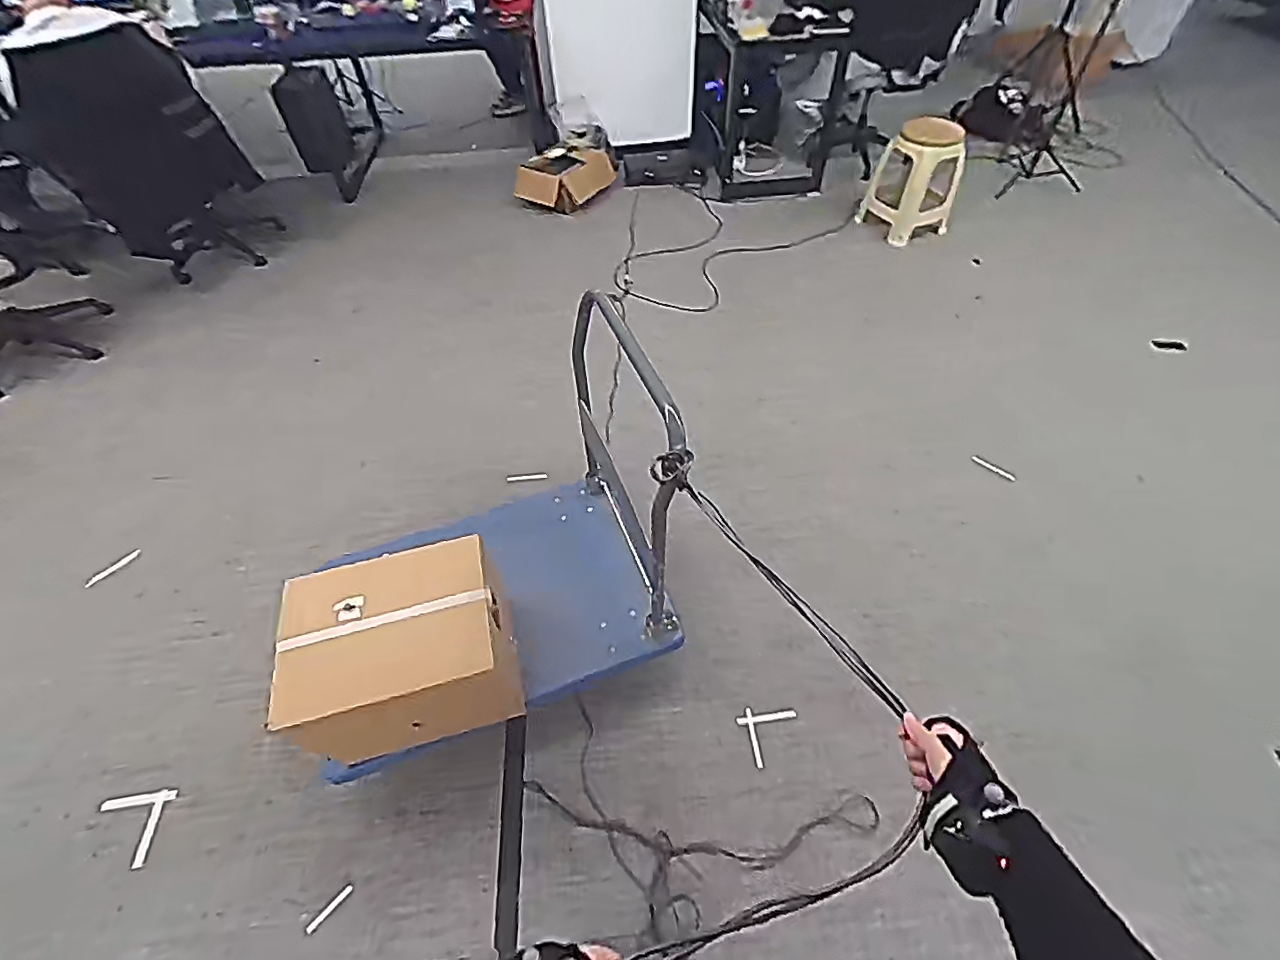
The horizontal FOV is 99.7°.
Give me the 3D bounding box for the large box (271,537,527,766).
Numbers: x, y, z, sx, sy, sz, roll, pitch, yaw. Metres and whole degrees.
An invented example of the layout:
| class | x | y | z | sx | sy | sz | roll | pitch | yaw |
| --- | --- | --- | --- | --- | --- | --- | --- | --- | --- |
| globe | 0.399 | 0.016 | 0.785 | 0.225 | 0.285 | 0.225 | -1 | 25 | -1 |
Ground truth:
| class | x | y | z | sx | sy | sz | roll | pitch | yaw |
| --- | --- | --- | --- | --- | --- | --- | --- | --- | --- |
| large box | -0.494 | 0.376 | 1.179 | 0.408 | 0.320 | 0.320 | -14 | 52 | -8 |
